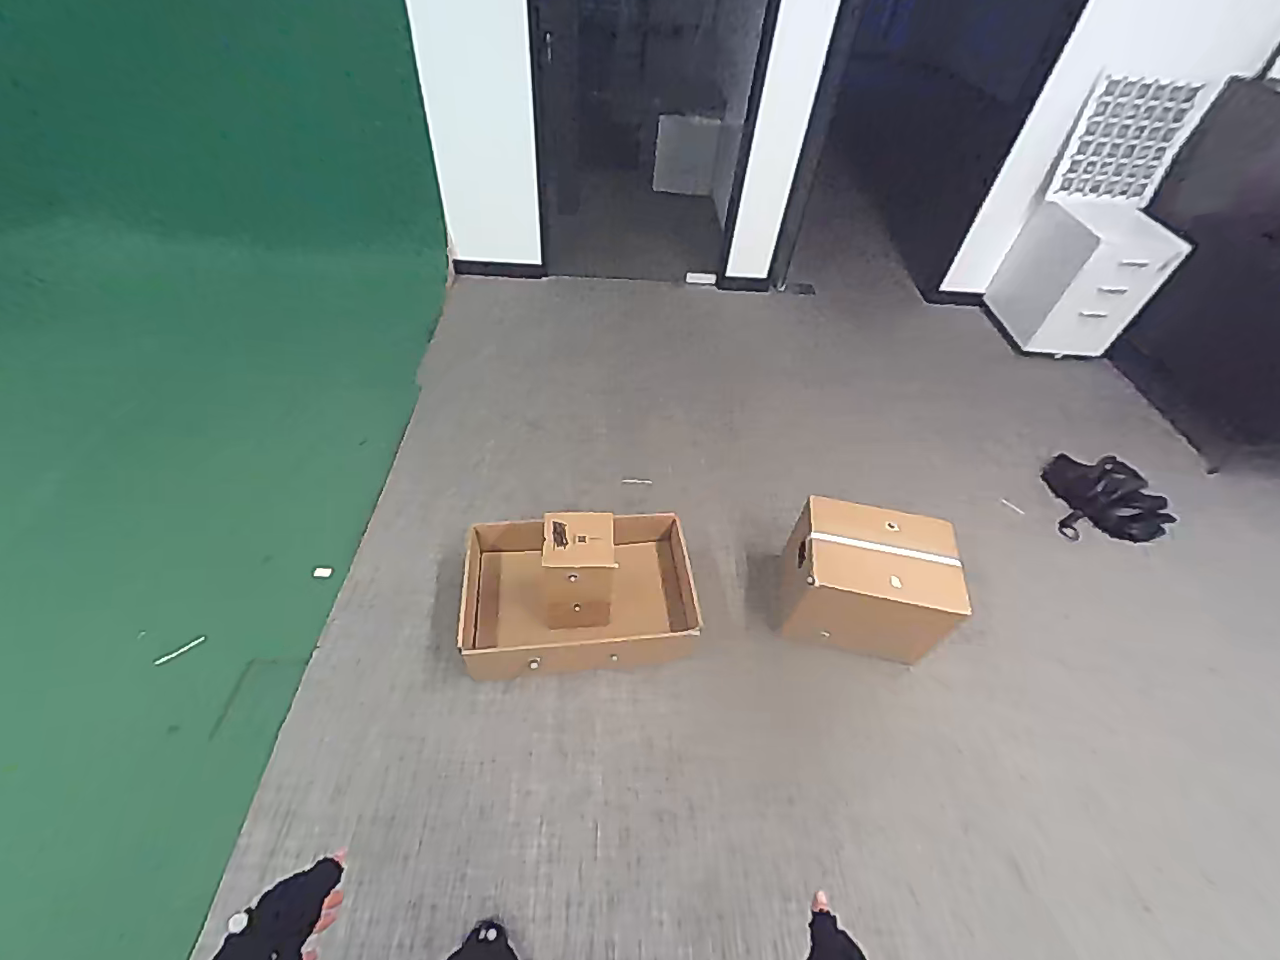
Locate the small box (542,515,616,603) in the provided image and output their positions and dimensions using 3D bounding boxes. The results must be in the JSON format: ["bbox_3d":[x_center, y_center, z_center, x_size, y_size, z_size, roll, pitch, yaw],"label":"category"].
[{"bbox_3d":[-0.155,0.205,1.390,0.179,0.176,0.168,1,48,-7],"label":"small box"}]

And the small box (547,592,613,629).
[{"bbox_3d":[-0.171,0.306,1.520,0.179,0.176,0.168,-1,49,-9],"label":"small box"}]
